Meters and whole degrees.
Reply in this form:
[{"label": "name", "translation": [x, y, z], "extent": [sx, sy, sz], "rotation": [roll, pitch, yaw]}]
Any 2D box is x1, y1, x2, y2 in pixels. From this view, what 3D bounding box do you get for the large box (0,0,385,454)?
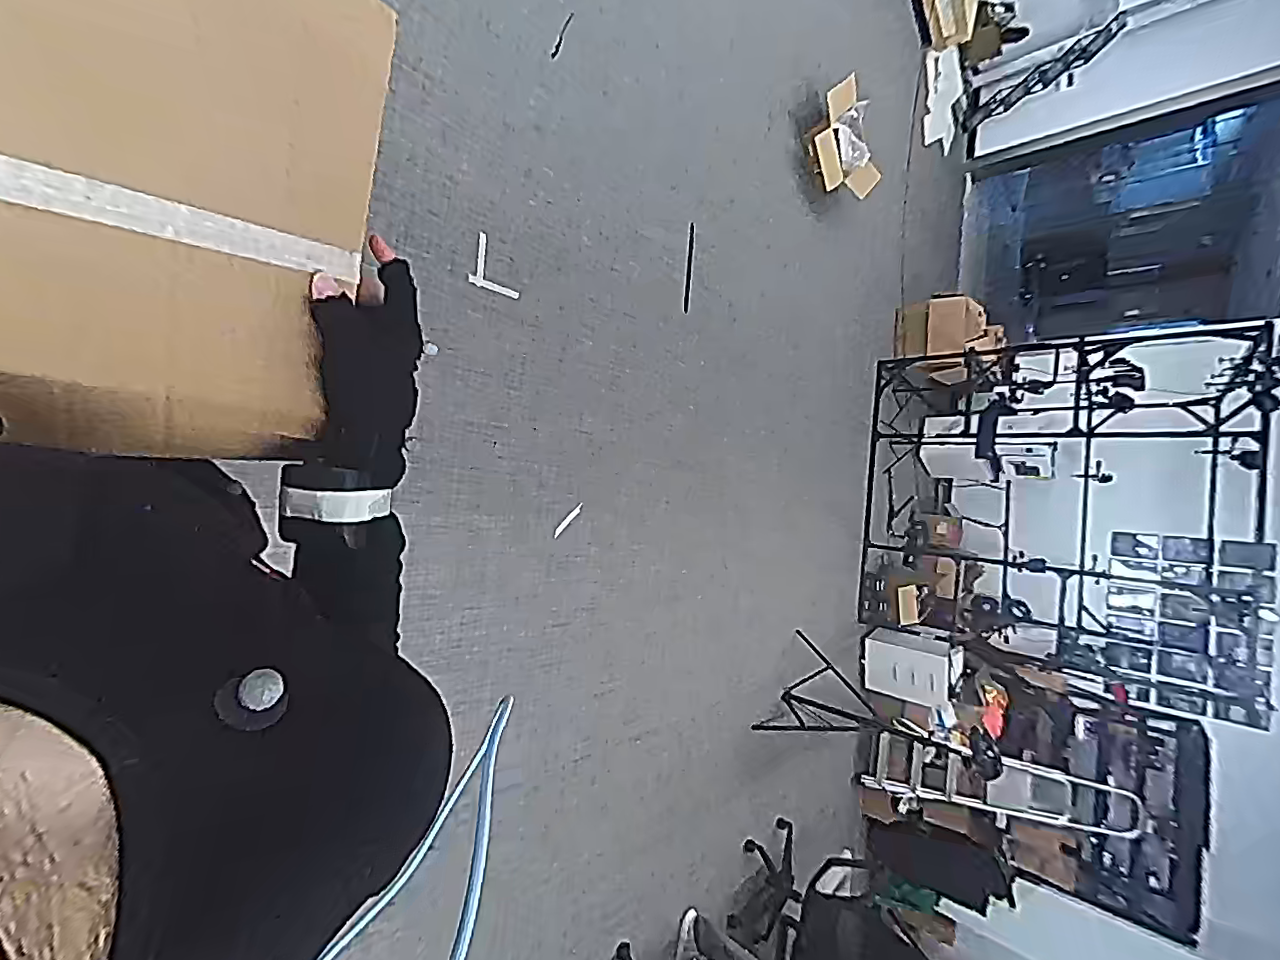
[{"label": "large box", "translation": [-0.441, -0.225, 0.350], "extent": [0.408, 0.320, 0.320], "rotation": [0, 121, -43]}]
